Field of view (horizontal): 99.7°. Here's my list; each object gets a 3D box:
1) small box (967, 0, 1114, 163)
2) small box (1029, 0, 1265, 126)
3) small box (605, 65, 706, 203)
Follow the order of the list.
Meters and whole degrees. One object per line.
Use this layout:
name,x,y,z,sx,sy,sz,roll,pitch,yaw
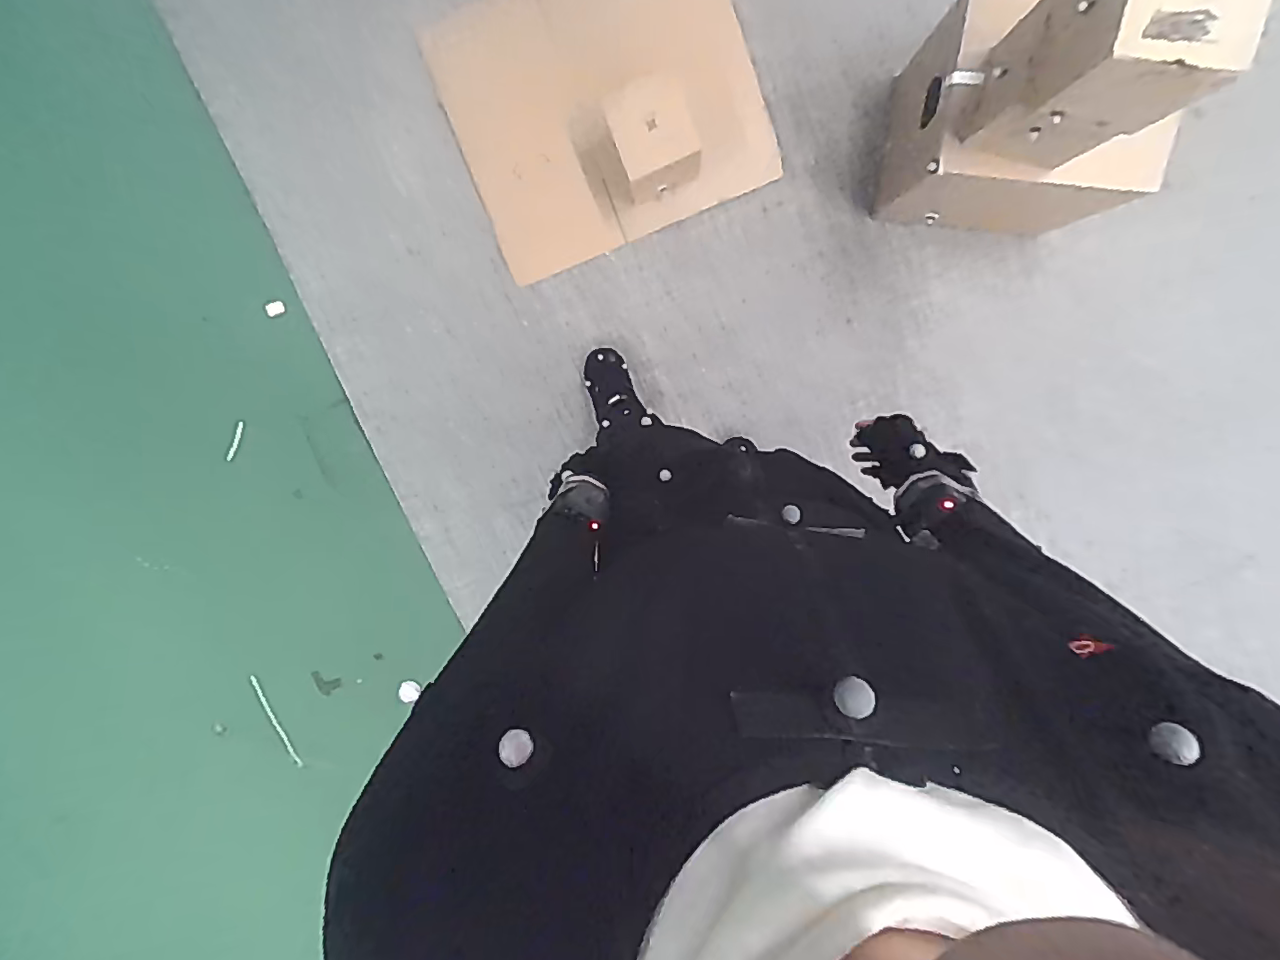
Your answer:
small box,0.676,-0.646,0.879,0.179,0.176,0.168,12,100,0
small box,0.663,-0.601,0.719,0.168,0.176,0.179,6,103,2
small box,0.037,-0.750,1.194,0.168,0.176,0.179,-22,99,9
